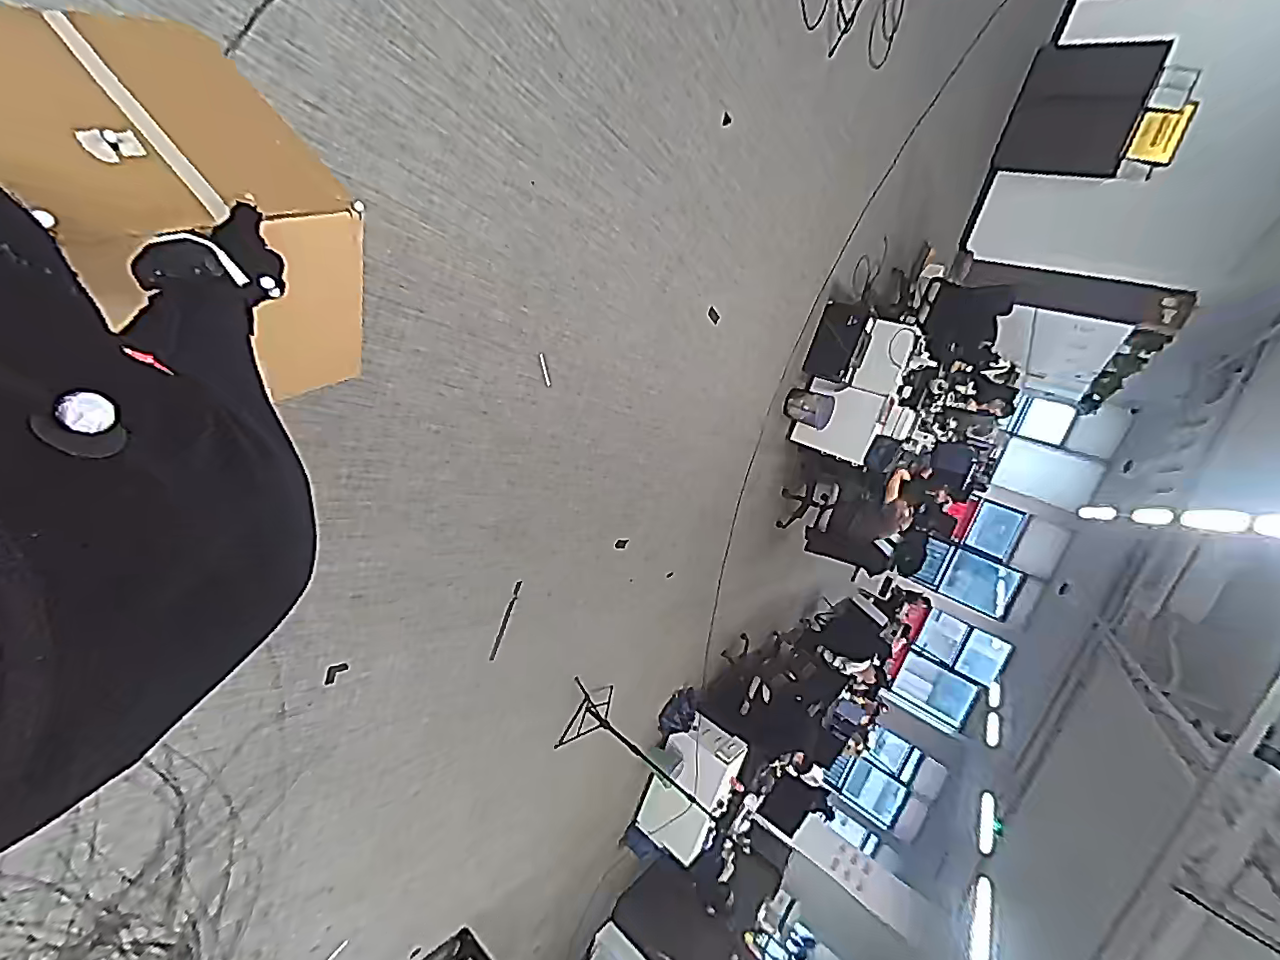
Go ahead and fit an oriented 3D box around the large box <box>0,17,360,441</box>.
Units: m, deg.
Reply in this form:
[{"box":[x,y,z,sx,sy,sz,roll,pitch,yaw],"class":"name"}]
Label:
[{"box":[-0.651,-0.333,0.744,0.320,0.408,0.320,-35,169,-39],"class":"large box"}]
